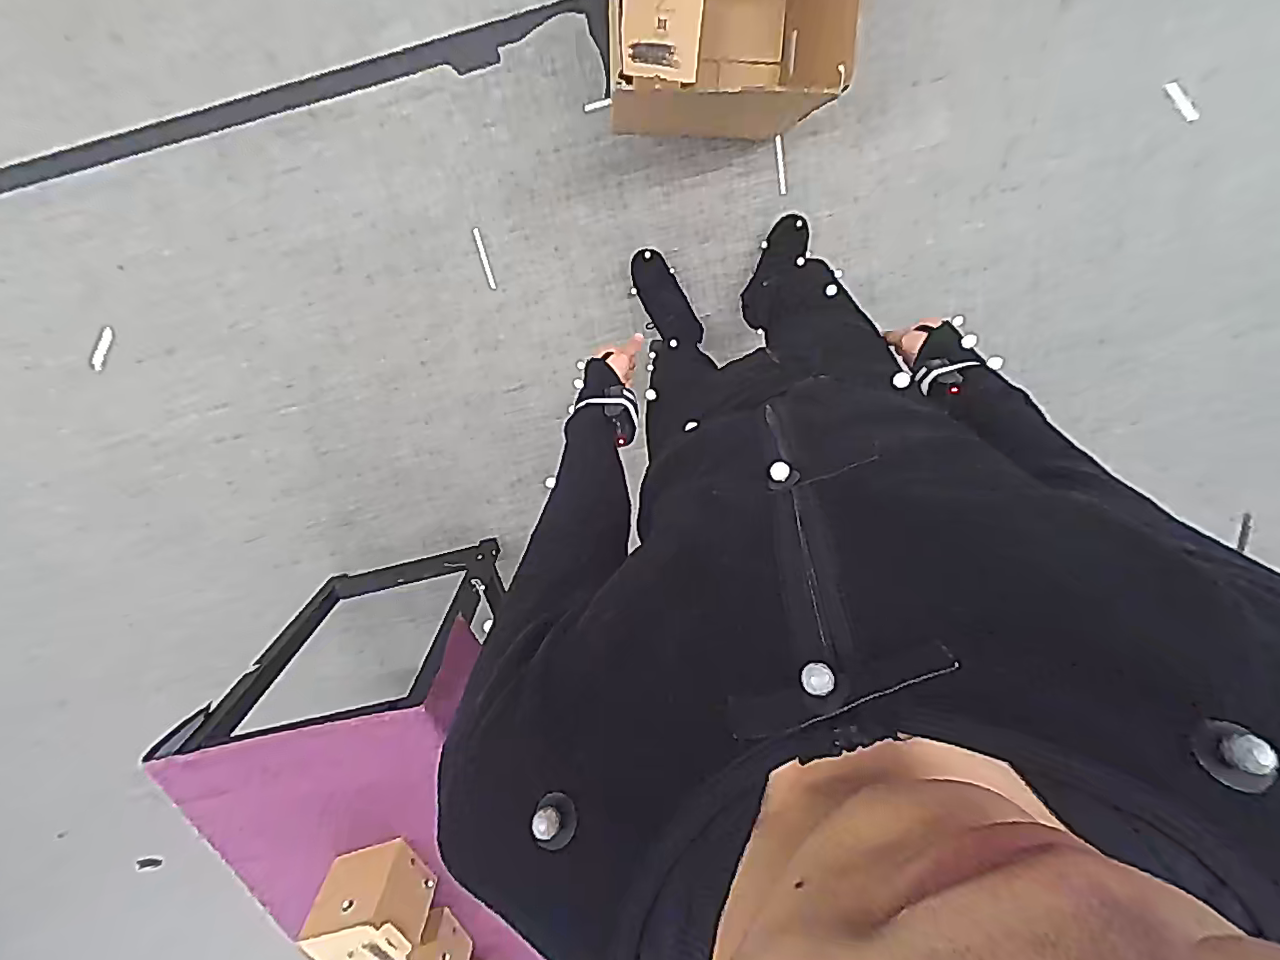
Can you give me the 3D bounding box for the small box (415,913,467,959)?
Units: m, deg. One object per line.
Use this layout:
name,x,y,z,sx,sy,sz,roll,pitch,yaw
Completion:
small box,-0.524,1.161,1.269,0.179,0.176,0.168,-16,112,4

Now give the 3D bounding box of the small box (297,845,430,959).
small box,-0.581,0.934,1.171,0.179,0.176,0.168,-20,112,7
